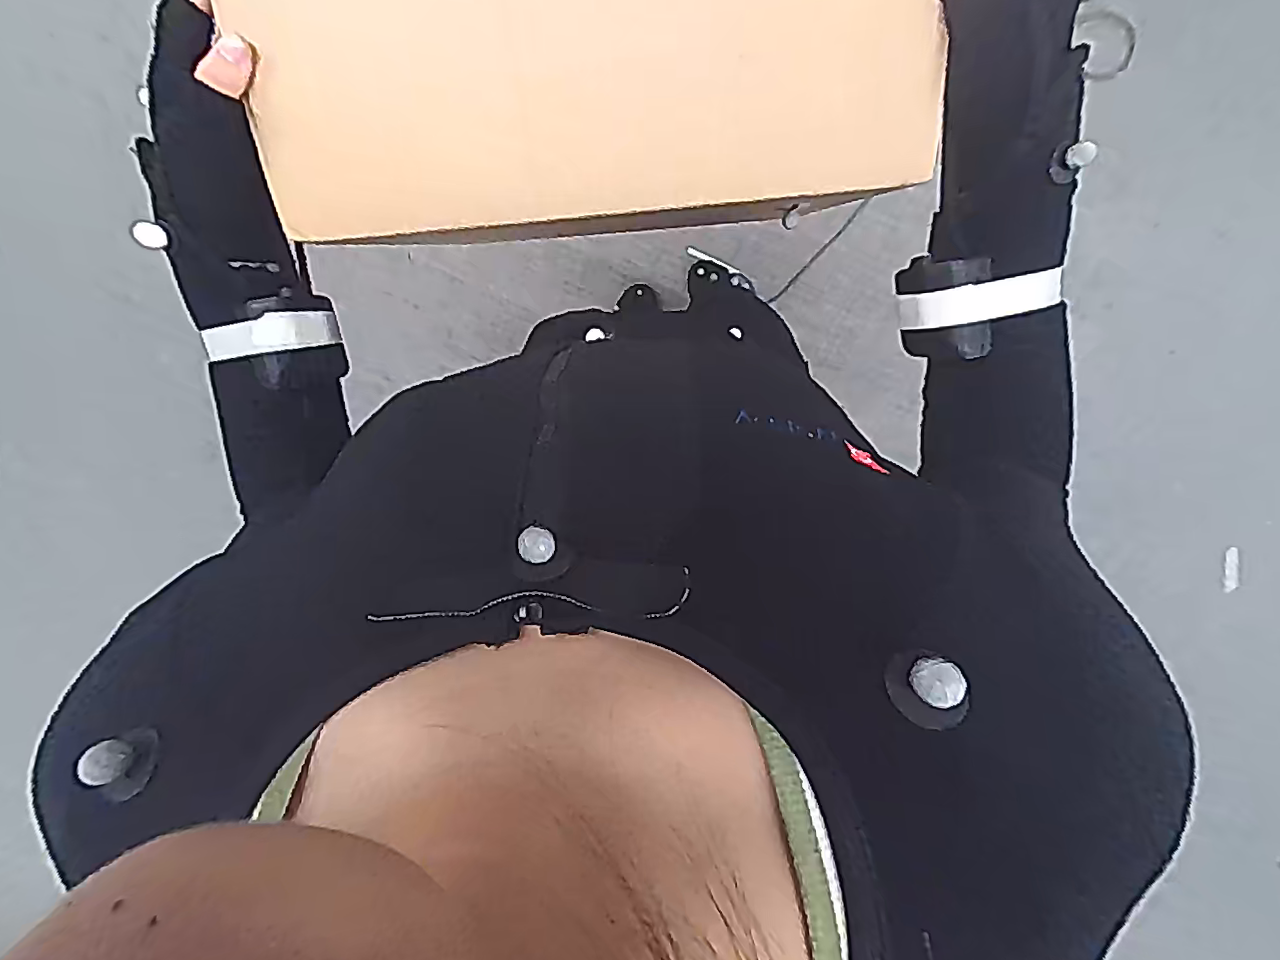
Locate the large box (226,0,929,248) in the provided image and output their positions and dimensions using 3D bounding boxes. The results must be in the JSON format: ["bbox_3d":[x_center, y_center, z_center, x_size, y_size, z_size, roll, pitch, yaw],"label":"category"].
[{"bbox_3d":[-0.036,-0.372,0.424,0.408,0.320,0.320,-4,113,4],"label":"large box"}]
